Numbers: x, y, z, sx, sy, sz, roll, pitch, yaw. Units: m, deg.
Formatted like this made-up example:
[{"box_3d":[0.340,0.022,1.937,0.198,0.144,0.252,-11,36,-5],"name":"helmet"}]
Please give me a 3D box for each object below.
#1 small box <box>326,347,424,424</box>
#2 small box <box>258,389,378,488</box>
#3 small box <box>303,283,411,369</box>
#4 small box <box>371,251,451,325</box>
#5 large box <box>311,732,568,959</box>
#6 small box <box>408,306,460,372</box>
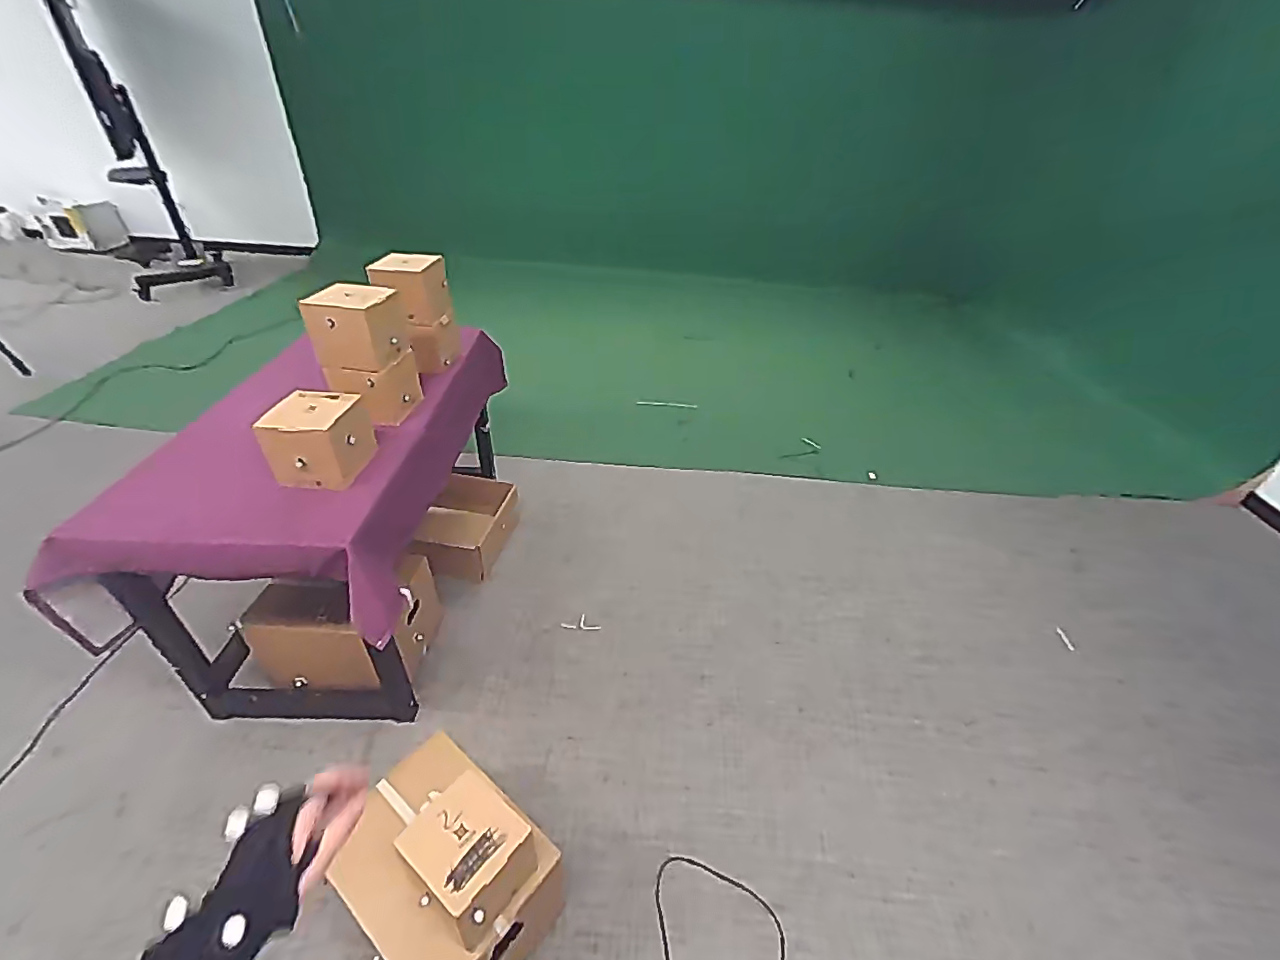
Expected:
[{"box_3d":[-0.739,-0.275,1.529,0.179,0.176,0.168,8,37,4],"name":"small box"},{"box_3d":[-0.752,-0.098,1.289,0.168,0.176,0.179,5,38,1],"name":"small box"},{"box_3d":[-0.738,-0.408,1.432,0.179,0.176,0.168,8,38,6],"name":"small box"},{"box_3d":[-0.705,-0.601,1.690,0.168,0.176,0.179,4,37,3],"name":"small box"},{"box_3d":[-0.406,0.850,1.158,0.408,0.320,0.320,26,42,29],"name":"large box"},{"box_3d":[-0.711,-0.468,1.784,0.179,0.176,0.168,4,37,2],"name":"small box"}]
